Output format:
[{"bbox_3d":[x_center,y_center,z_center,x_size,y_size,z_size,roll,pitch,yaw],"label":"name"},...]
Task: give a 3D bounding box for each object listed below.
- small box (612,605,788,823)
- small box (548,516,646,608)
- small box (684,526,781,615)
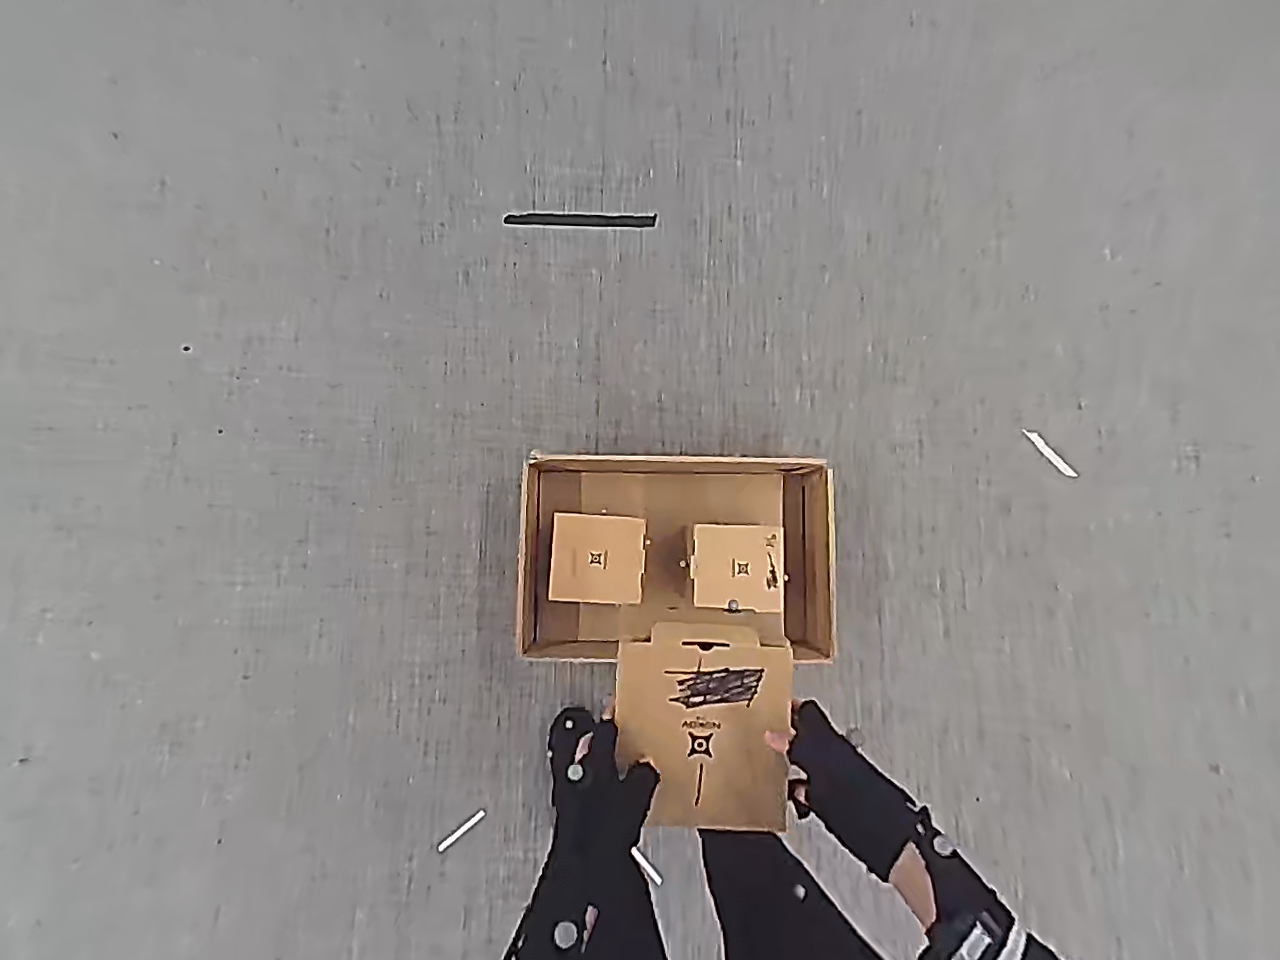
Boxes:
[{"bbox_3d":[0.057,0.238,0.594,0.168,0.176,0.179,2,88,0],"label":"small box"},{"bbox_3d":[-0.085,0.163,1.097,0.179,0.176,0.168,4,83,-2],"label":"small box"},{"bbox_3d":[0.183,0.180,1.107,0.179,0.176,0.168,1,85,0],"label":"small box"}]
